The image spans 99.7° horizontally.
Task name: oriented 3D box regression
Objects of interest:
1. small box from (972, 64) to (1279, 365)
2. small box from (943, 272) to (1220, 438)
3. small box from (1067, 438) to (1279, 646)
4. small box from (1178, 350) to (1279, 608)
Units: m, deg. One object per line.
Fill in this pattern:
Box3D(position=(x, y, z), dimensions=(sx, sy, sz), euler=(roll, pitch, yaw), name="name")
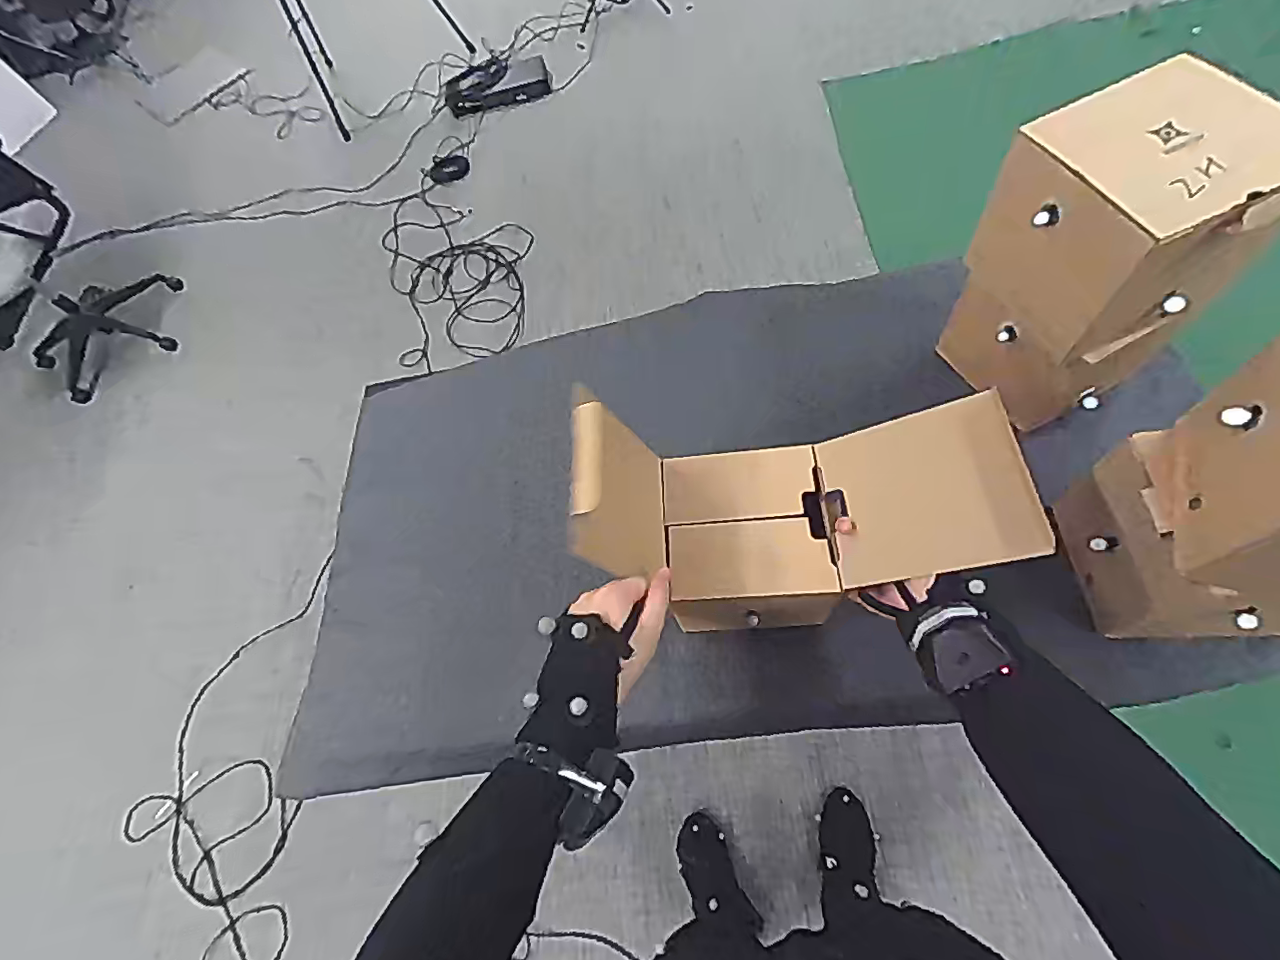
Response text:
Box3D(position=(0.473, -0.249, 0.534), dimensions=(0.168, 0.176, 0.179), euler=(-24, 63, 3), name="small box")
Box3D(position=(0.521, -0.185, 0.677), dimensions=(0.168, 0.176, 0.179), euler=(-29, 63, 0), name="small box")
Box3D(position=(0.574, 0.068, 0.542), dimensions=(0.179, 0.176, 0.168), euler=(-4, 61, 11), name="small box")
Box3D(position=(0.547, 0.006, 0.393), dimensions=(0.179, 0.176, 0.168), euler=(16, 66, 19), name="small box")
